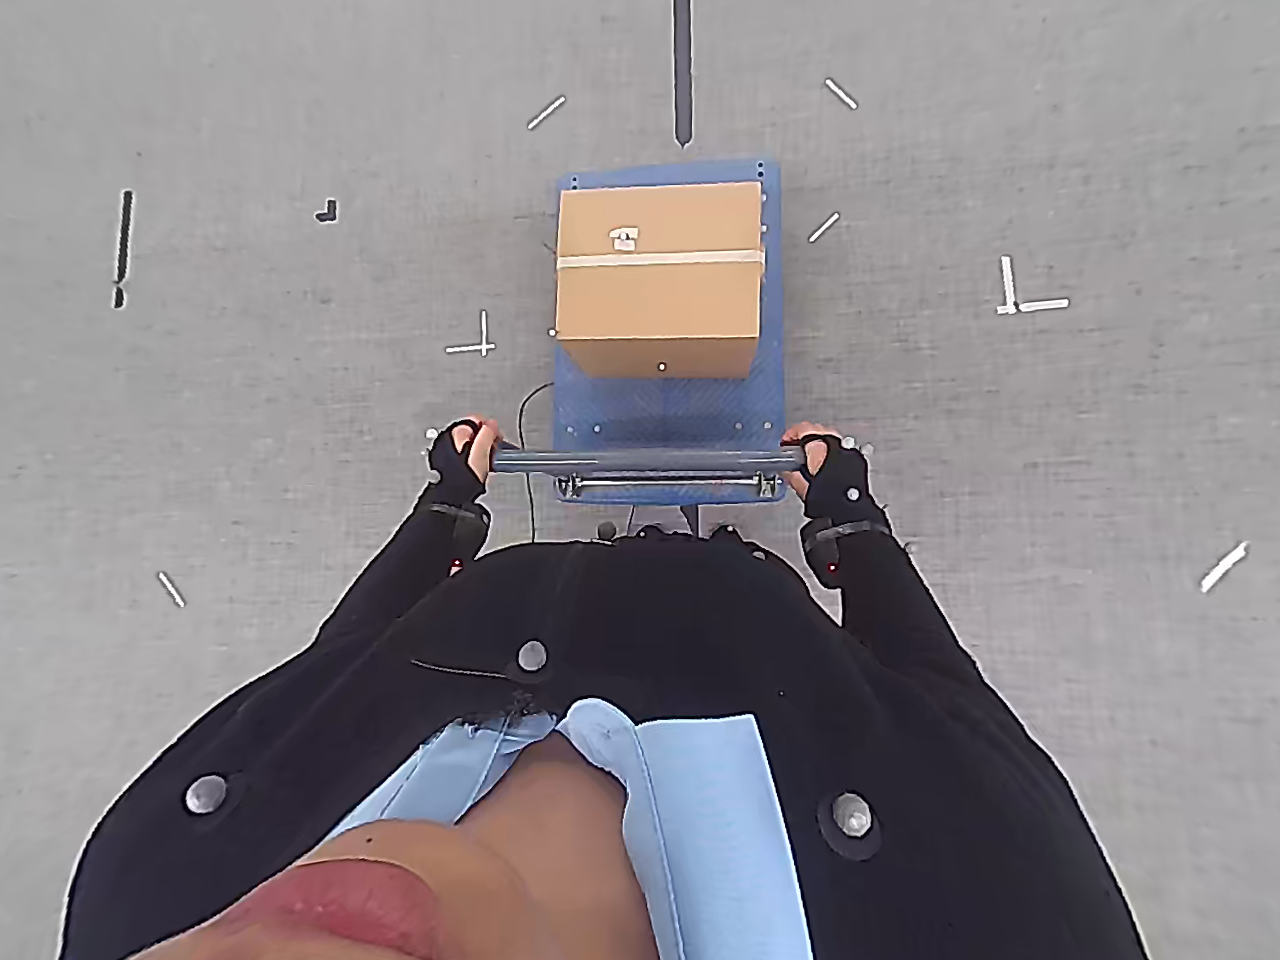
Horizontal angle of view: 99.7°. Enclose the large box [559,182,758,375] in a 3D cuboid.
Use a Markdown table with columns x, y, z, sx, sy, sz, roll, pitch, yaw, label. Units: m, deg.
| x | y | z | sx | sy | sz | roll | pitch | yaw | label |
| --- | --- | --- | --- | --- | --- | --- | --- | --- | --- |
| 0.054 | -0.428 | 1.229 | 0.408 | 0.320 | 0.320 | 1 | 85 | 8 | large box |
